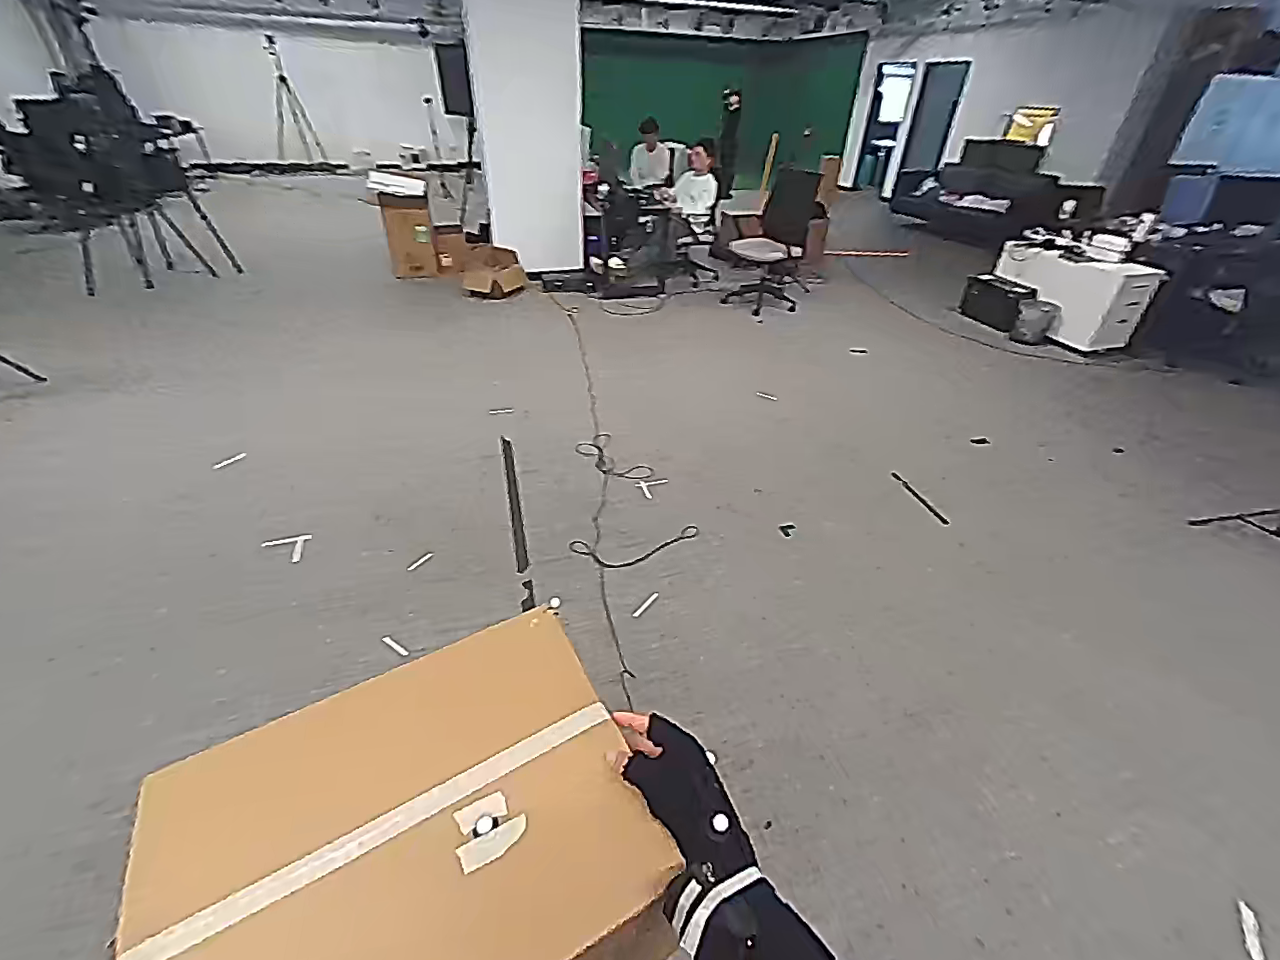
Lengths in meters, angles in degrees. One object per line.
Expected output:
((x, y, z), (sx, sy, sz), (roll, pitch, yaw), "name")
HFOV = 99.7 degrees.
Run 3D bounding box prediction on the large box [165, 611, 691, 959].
((-0.198, 0.422, 0.589), (0.408, 0.320, 0.320), (-19, 44, -21), "large box")
